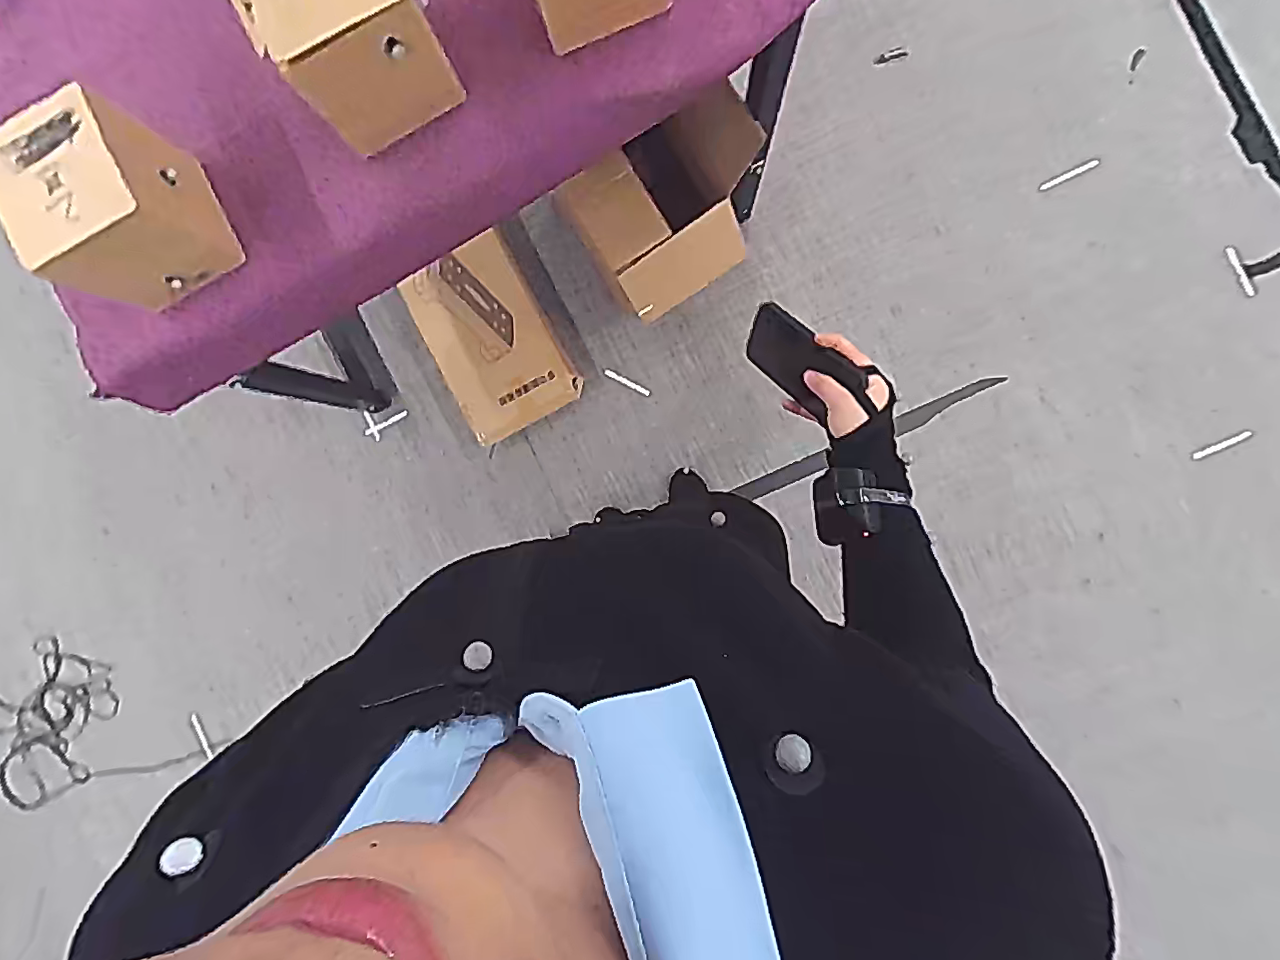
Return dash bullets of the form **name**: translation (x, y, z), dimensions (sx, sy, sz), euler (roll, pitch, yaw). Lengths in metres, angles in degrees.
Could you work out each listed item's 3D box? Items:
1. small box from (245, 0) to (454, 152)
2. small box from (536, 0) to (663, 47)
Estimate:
- **small box**: translation (-0.364, -0.574, 0.693), dimensions (0.179, 0.176, 0.168), euler (-28, 87, 4)
- **small box**: translation (-0.071, -0.700, 0.672), dimensions (0.179, 0.176, 0.168), euler (-20, 90, 4)
